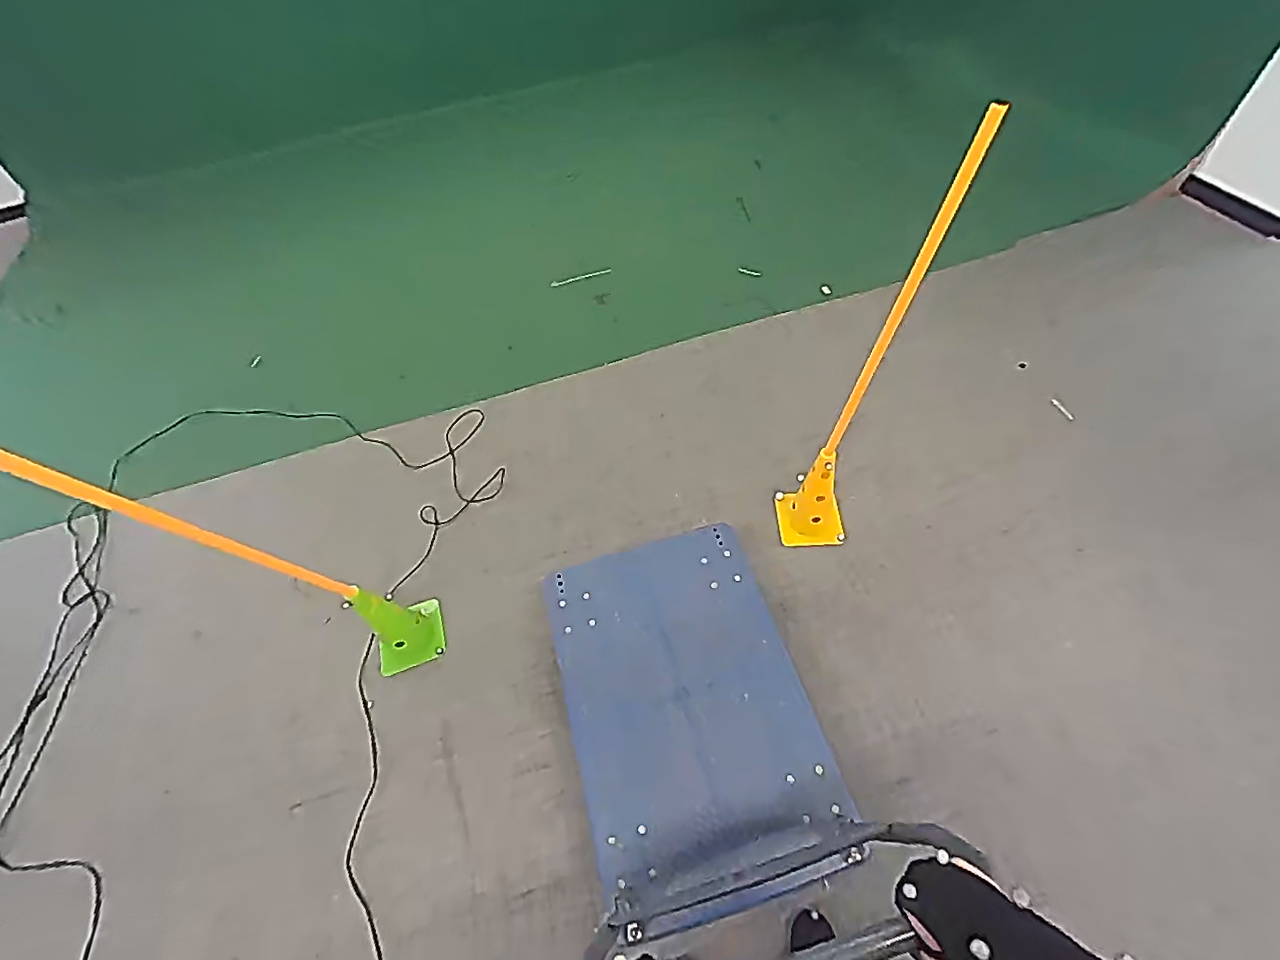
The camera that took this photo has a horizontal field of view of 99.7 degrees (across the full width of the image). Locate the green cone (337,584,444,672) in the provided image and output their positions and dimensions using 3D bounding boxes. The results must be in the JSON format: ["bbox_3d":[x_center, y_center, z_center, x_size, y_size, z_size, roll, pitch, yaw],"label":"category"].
[{"bbox_3d":[-0.746,0.384,1.561,0.202,0.368,0.200,-21,55,-5],"label":"green cone"}]
